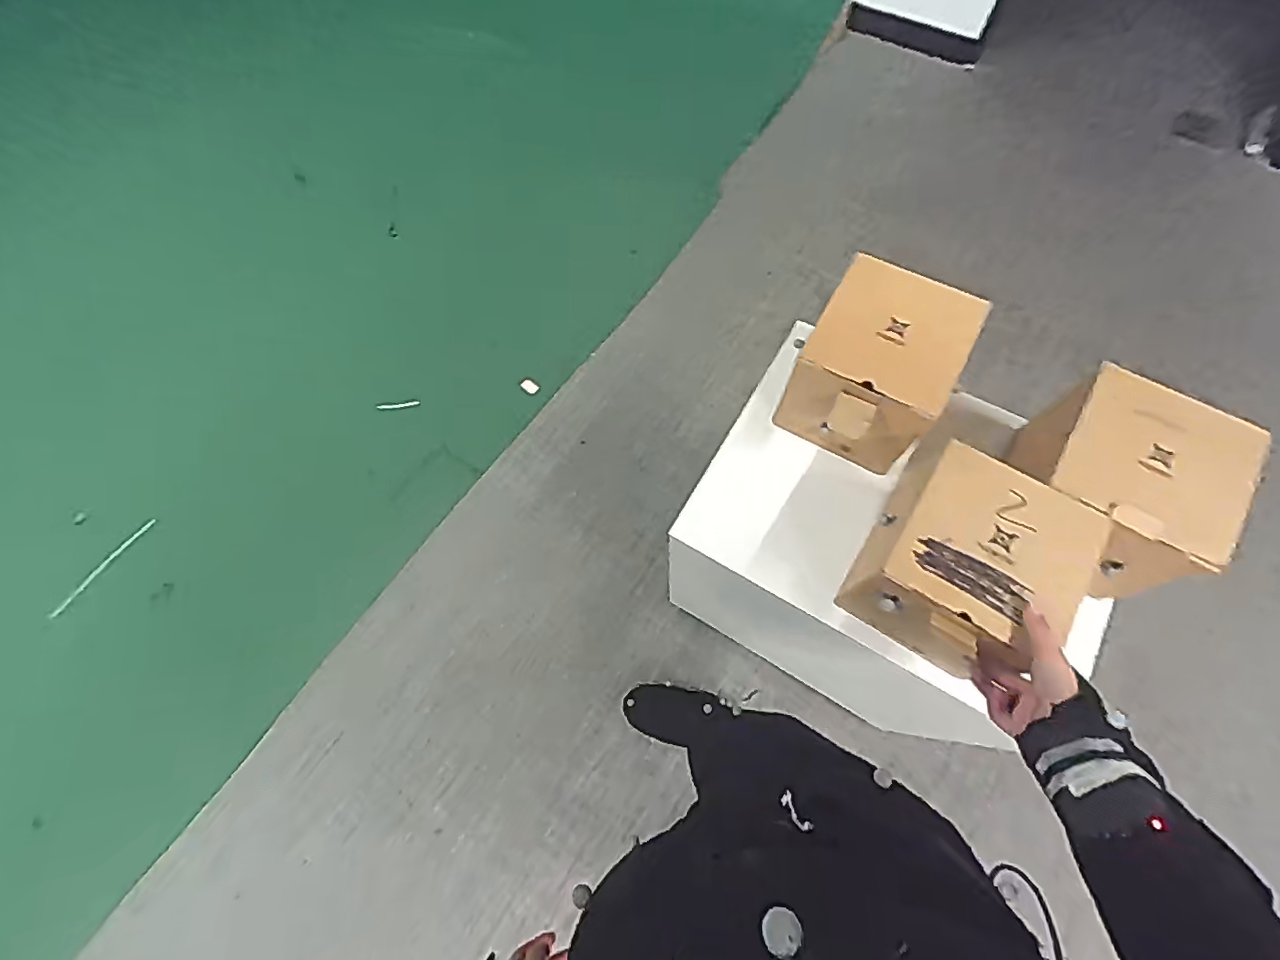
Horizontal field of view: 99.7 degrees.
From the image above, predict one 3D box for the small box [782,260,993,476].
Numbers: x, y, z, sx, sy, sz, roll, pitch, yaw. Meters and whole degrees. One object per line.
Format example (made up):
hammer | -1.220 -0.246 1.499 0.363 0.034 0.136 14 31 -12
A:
small box | 0.300 -0.134 0.694 0.168 0.176 0.179 29 74 13
